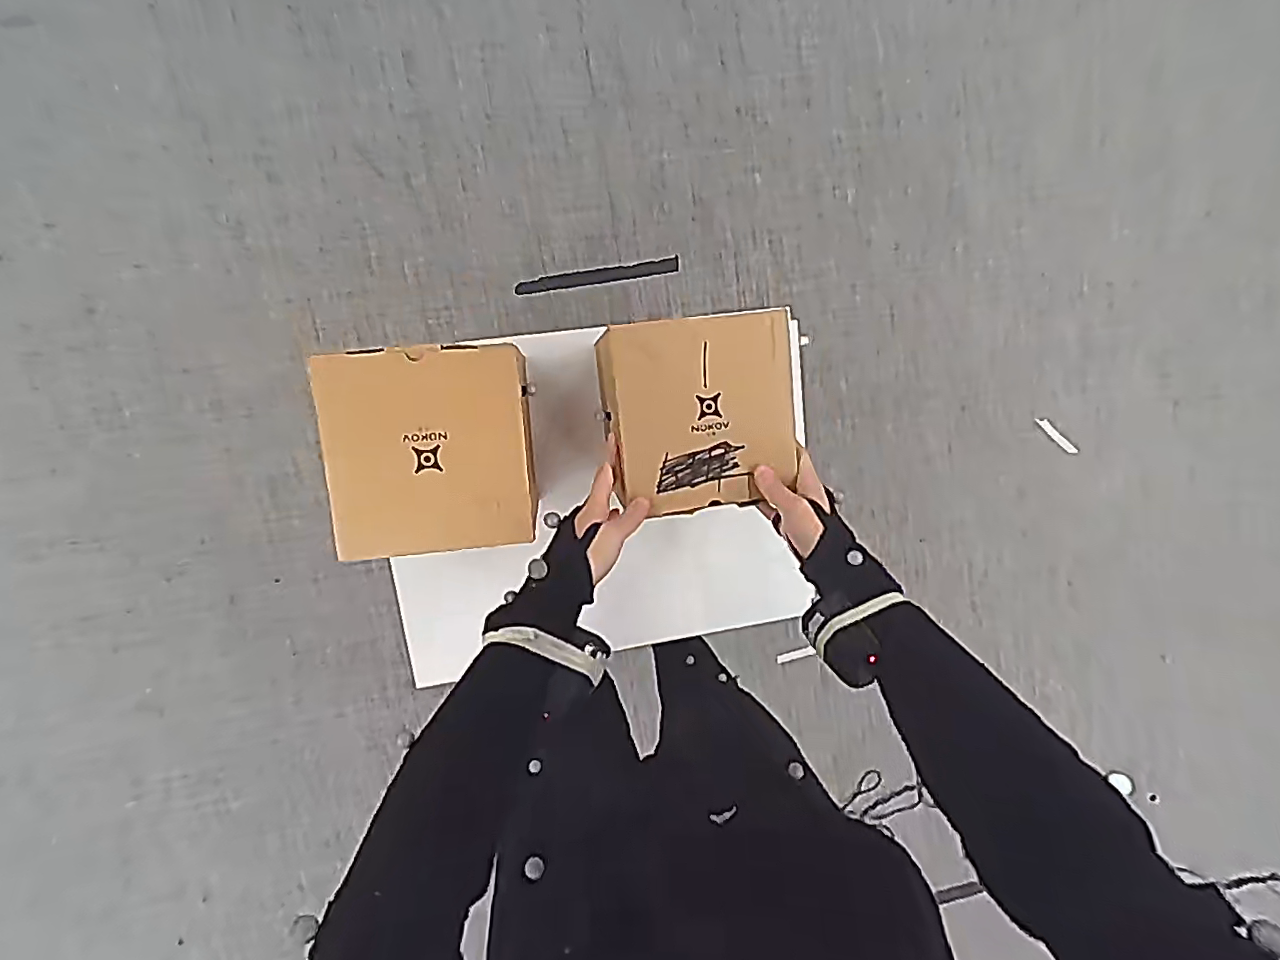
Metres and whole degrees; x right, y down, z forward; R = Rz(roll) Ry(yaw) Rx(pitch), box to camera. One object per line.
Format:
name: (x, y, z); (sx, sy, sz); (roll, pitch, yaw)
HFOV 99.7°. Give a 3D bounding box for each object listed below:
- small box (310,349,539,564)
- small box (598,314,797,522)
small box: (-0.191, -0.032, 0.535); (0.168, 0.176, 0.179); (-5, 99, -9)
small box: (0.050, -0.068, 0.567); (0.168, 0.176, 0.179); (-8, 100, -8)
